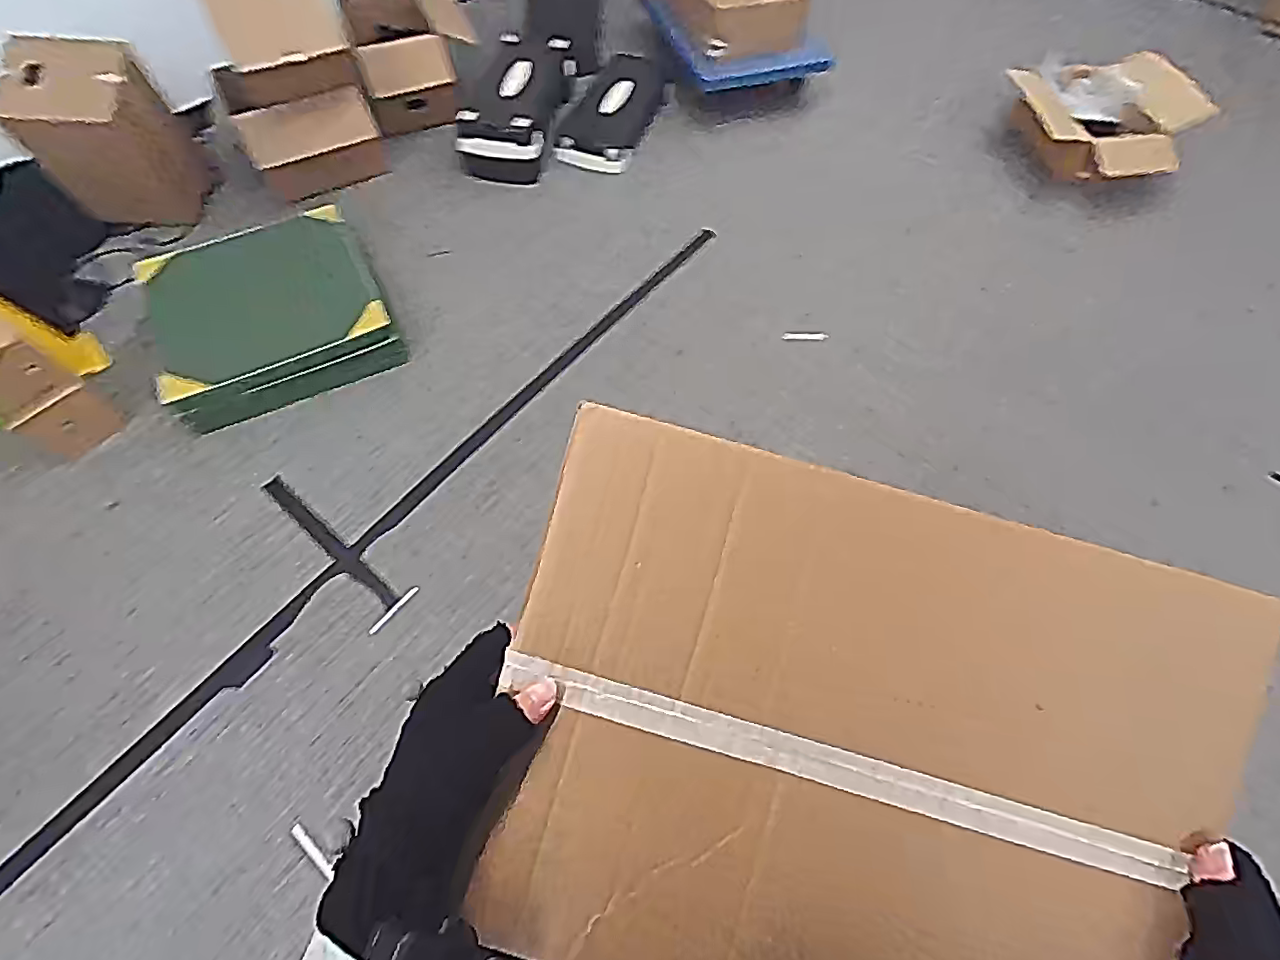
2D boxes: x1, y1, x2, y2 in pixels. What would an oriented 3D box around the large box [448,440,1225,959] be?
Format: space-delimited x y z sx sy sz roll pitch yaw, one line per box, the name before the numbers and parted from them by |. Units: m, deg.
large box | 0.117 0.169 0.466 0.408 0.320 0.320 15 89 1
